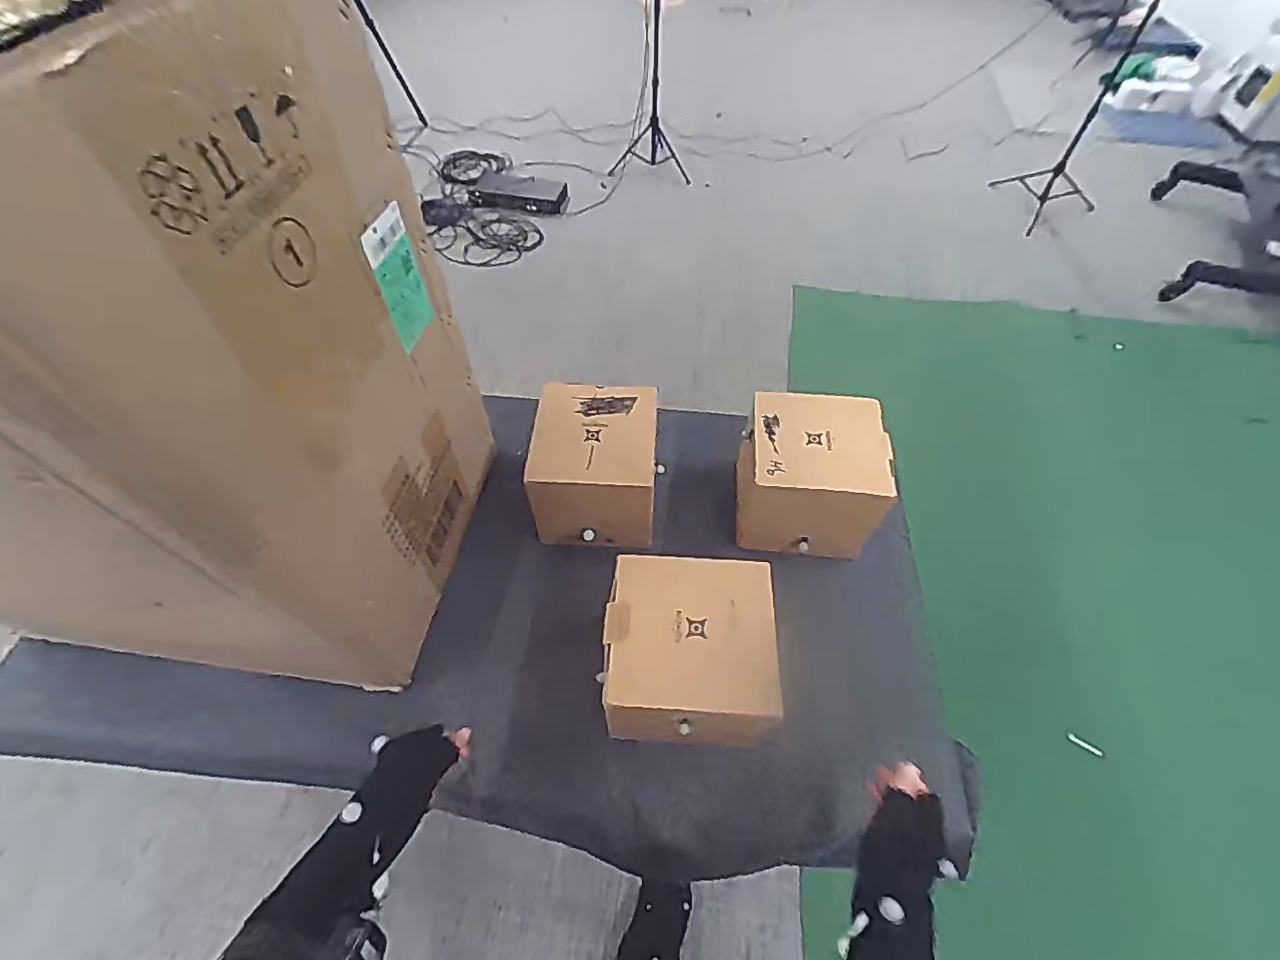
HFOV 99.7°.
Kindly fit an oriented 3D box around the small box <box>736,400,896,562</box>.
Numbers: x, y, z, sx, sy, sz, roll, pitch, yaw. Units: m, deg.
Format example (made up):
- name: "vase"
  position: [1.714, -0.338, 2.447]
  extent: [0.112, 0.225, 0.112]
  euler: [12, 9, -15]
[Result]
- name: "small box"
  position: [0.242, 0.006, 0.788]
  extent: [0.179, 0.176, 0.168]
  euler: [5, 54, 3]
